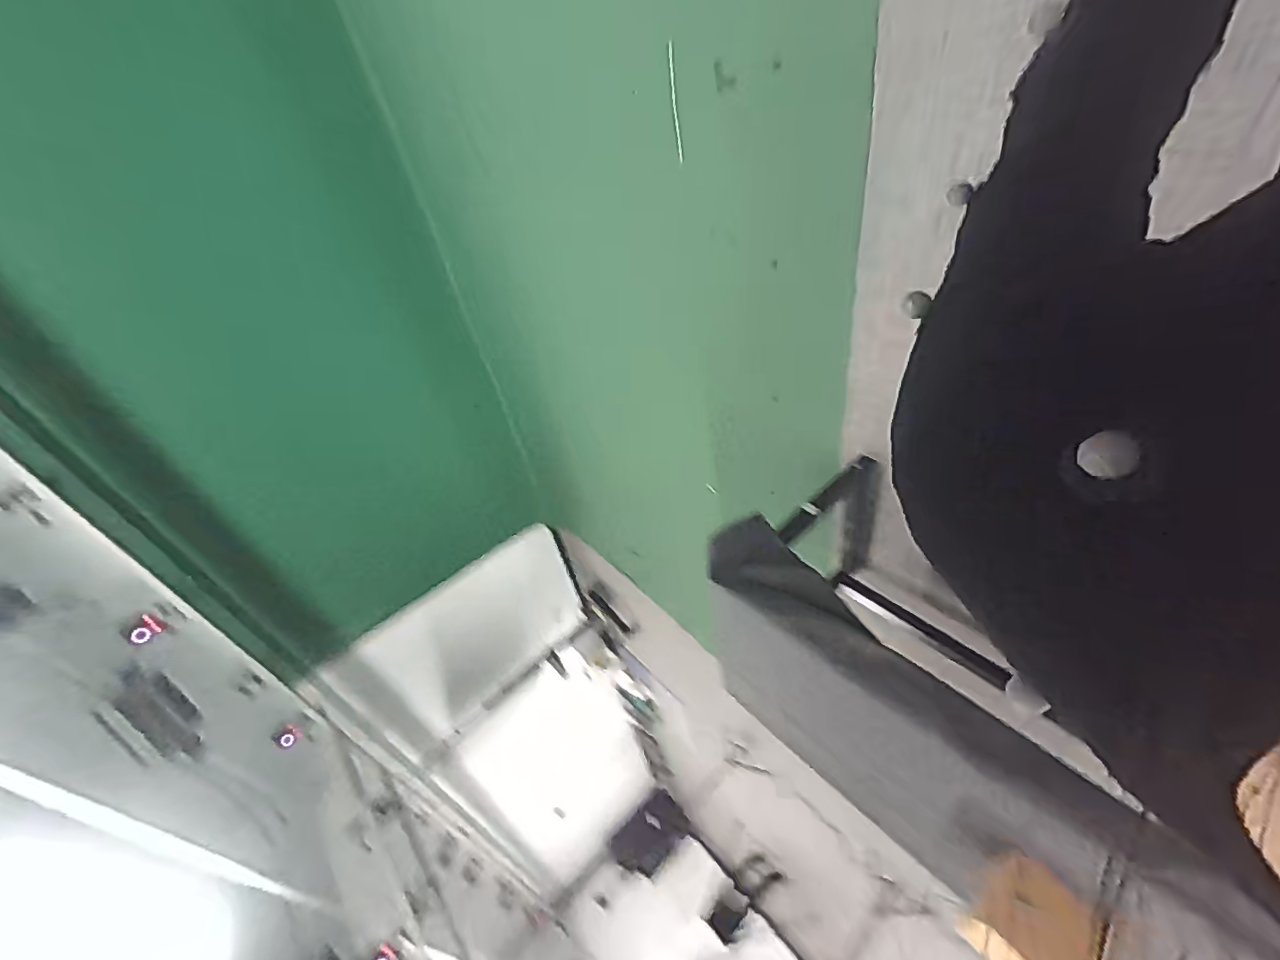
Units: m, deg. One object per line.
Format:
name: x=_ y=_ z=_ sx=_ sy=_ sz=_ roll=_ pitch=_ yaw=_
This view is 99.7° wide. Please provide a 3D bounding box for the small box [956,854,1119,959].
small box: x=0.757 y=0.860 z=1.040 sx=0.179 sy=0.176 sz=0.168 roll=35 pitch=151 yaw=36
